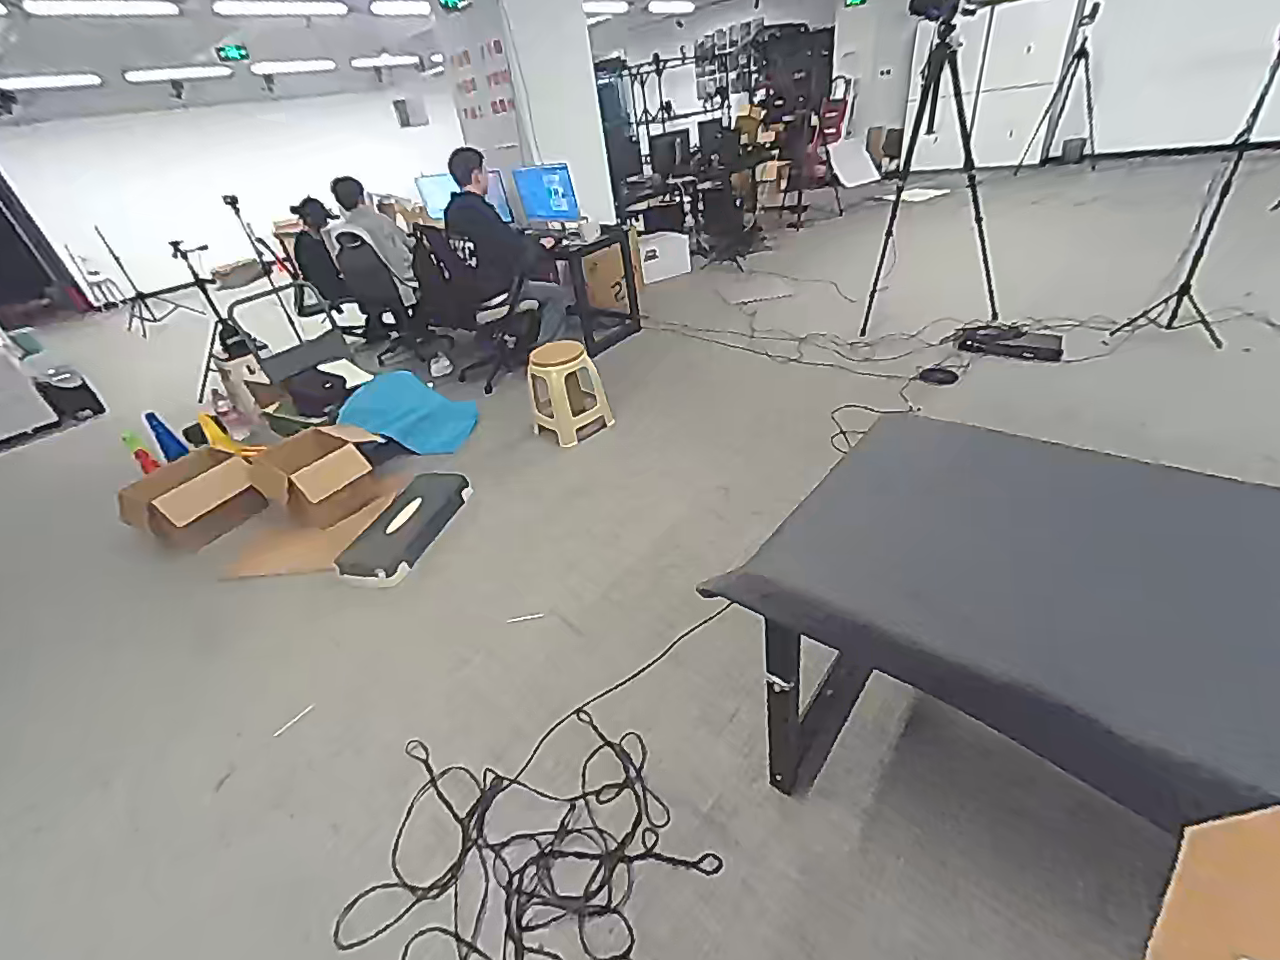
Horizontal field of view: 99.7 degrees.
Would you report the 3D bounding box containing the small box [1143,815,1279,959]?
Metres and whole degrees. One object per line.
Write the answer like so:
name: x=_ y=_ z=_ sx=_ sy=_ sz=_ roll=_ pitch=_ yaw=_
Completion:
small box: x=0.472 y=0.340 z=0.340 sx=0.168 sy=0.176 sz=0.179 roll=33 pitch=63 yaw=31
